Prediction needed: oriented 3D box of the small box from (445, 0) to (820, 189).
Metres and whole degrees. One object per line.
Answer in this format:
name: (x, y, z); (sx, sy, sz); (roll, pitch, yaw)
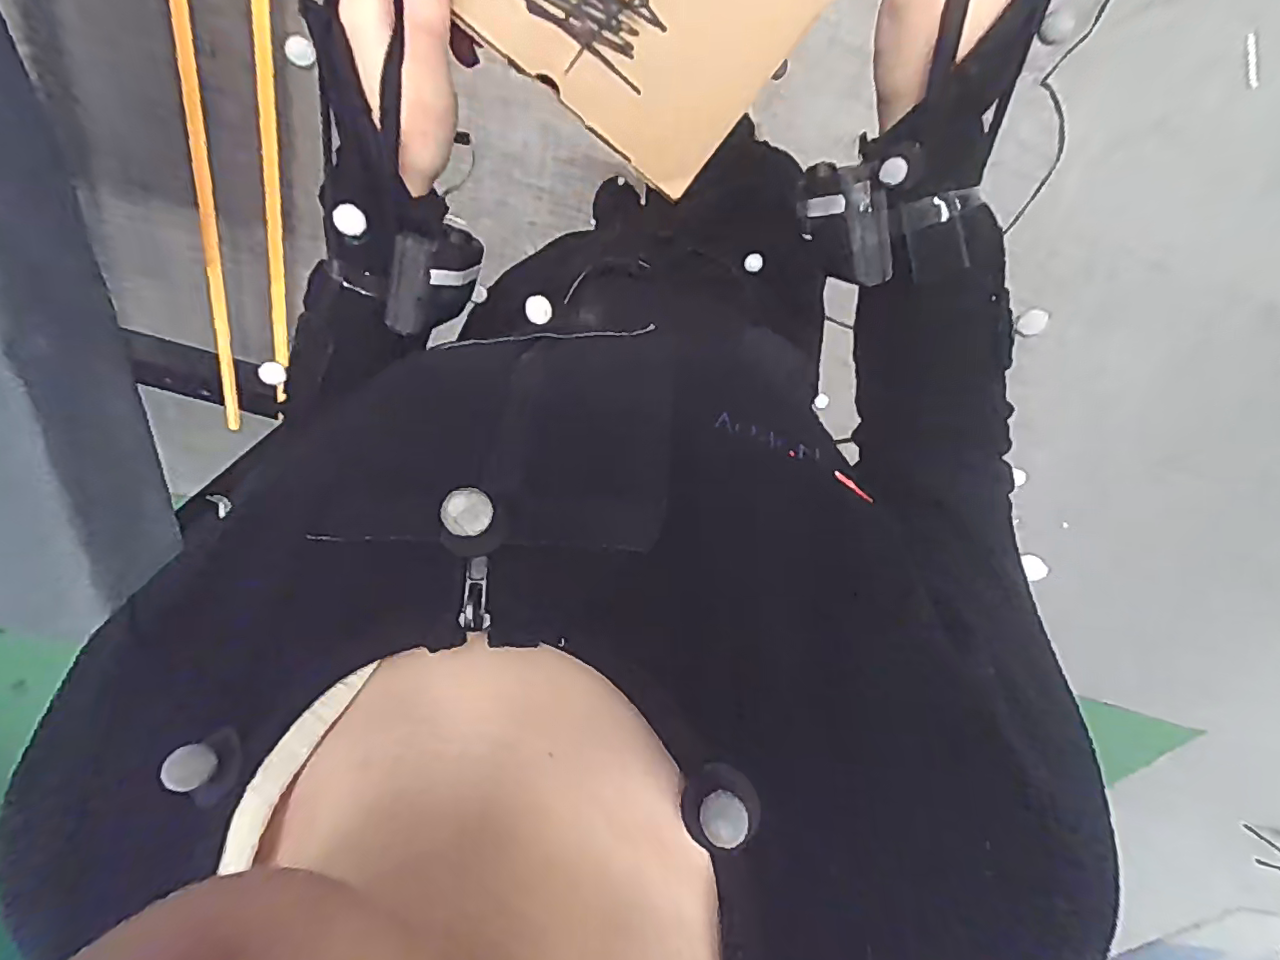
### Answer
small box: (0.008, -0.294, 0.262); (0.168, 0.176, 0.179); (28, 131, -26)
